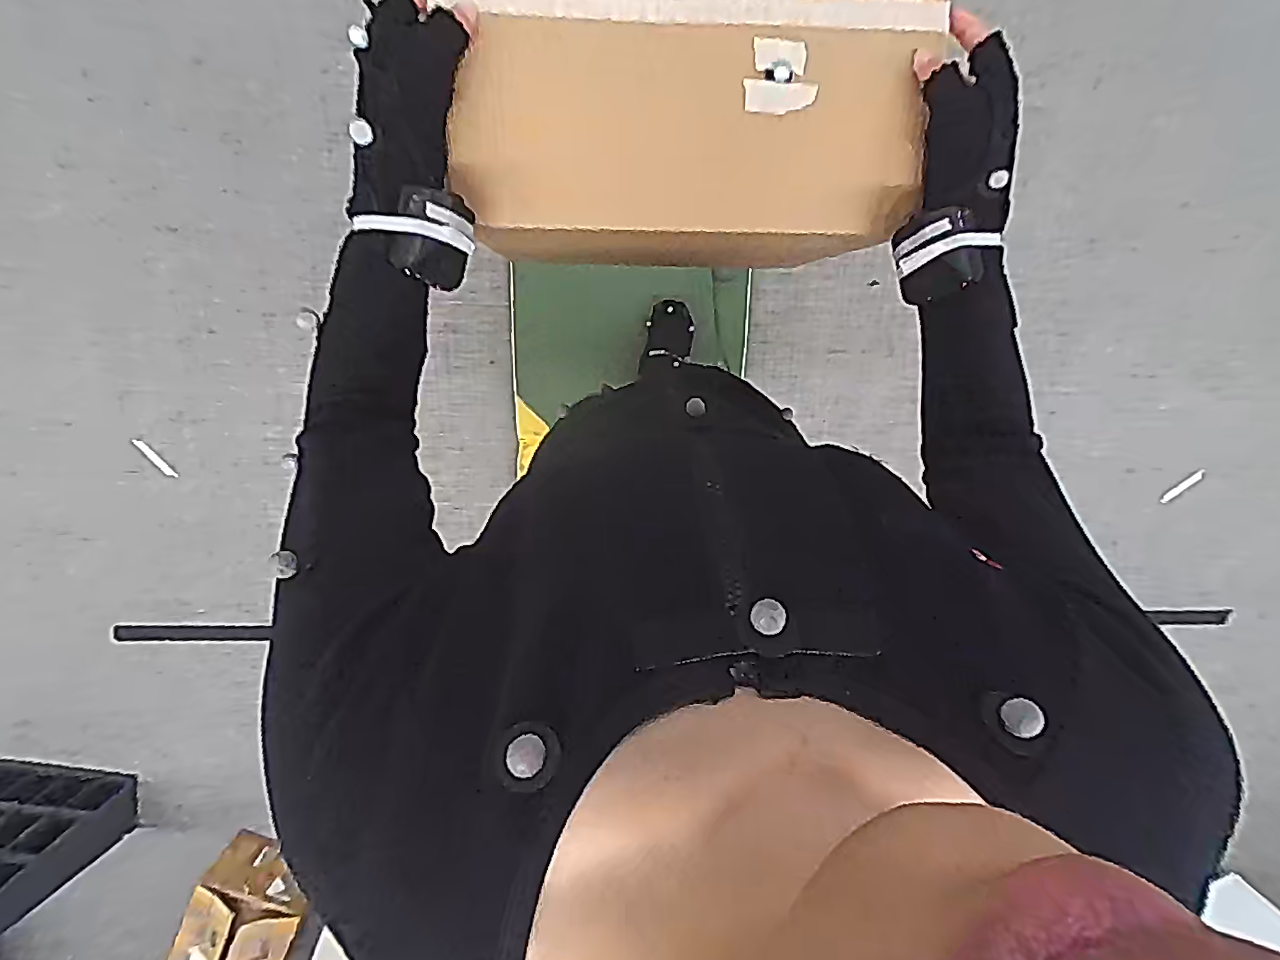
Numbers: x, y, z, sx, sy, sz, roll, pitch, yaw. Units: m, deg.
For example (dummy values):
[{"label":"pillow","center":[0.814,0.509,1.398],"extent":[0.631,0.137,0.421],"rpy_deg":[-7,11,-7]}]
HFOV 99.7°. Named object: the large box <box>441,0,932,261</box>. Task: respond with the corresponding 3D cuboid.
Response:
[{"label":"large box","center":[0.028,-0.417,0.572],"extent":[0.408,0.320,0.320],"rpy_deg":[-2,107,-5]}]
